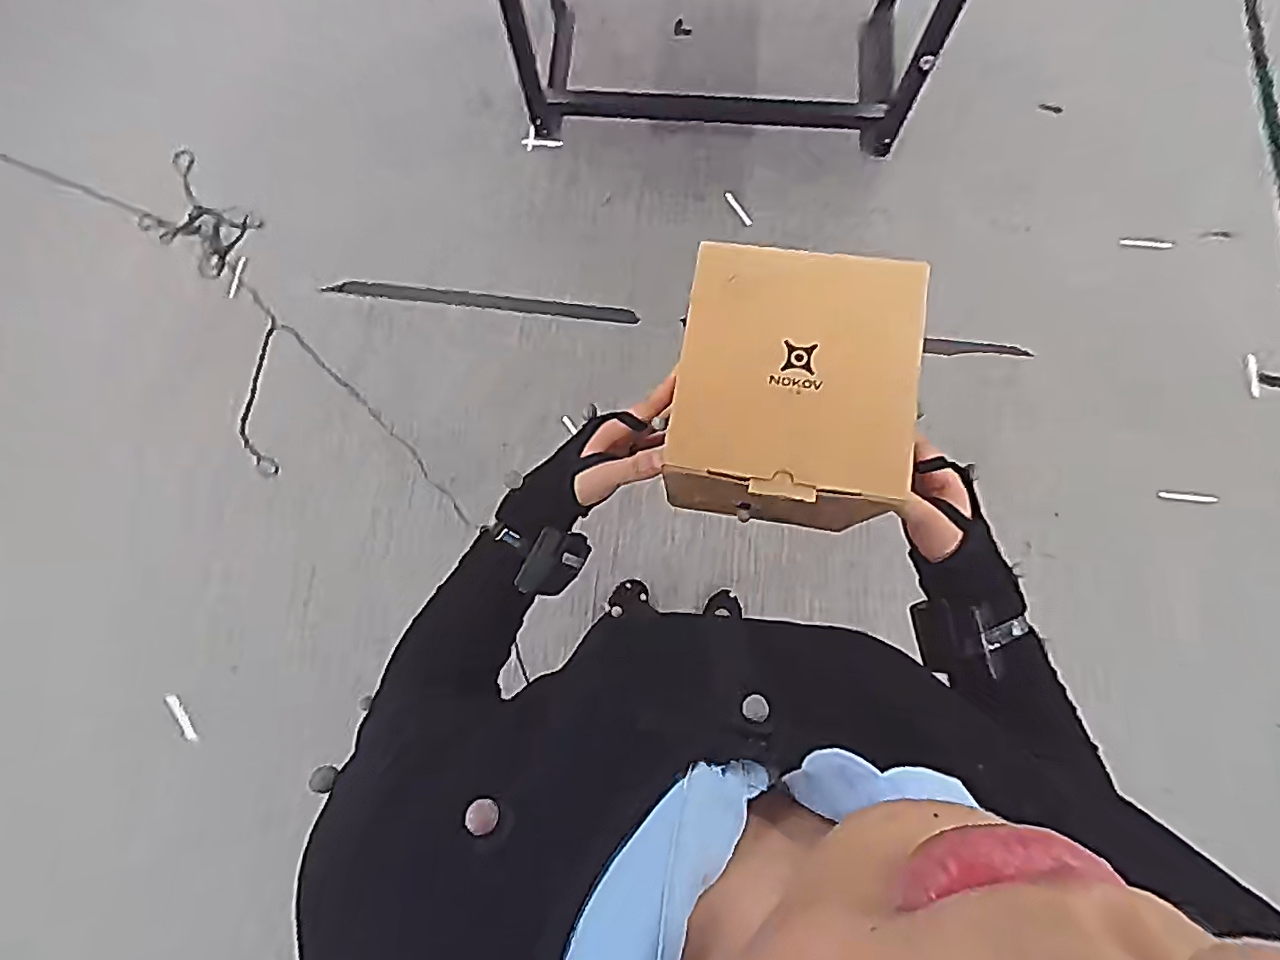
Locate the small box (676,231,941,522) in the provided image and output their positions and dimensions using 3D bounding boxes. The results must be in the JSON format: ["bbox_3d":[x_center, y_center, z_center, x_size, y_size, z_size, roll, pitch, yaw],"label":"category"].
[{"bbox_3d":[0.122,-0.070,0.446,0.168,0.176,0.179,8,80,7],"label":"small box"}]
